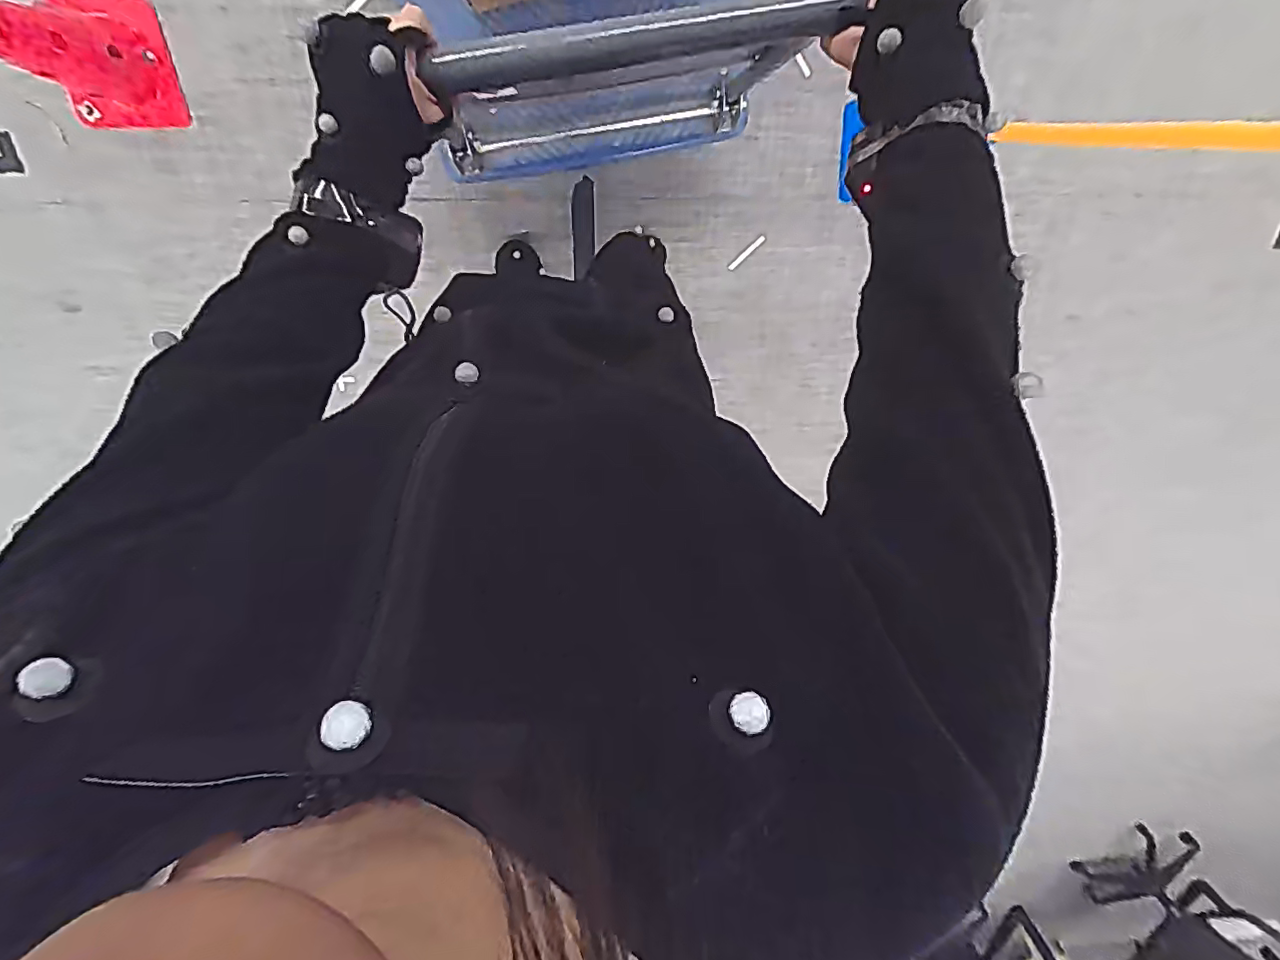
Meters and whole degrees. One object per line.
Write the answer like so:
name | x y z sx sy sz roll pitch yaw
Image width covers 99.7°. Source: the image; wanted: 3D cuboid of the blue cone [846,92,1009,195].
blue cone | 0.576 -0.679 1.068 0.193 0.380 0.192 -7 117 -5
